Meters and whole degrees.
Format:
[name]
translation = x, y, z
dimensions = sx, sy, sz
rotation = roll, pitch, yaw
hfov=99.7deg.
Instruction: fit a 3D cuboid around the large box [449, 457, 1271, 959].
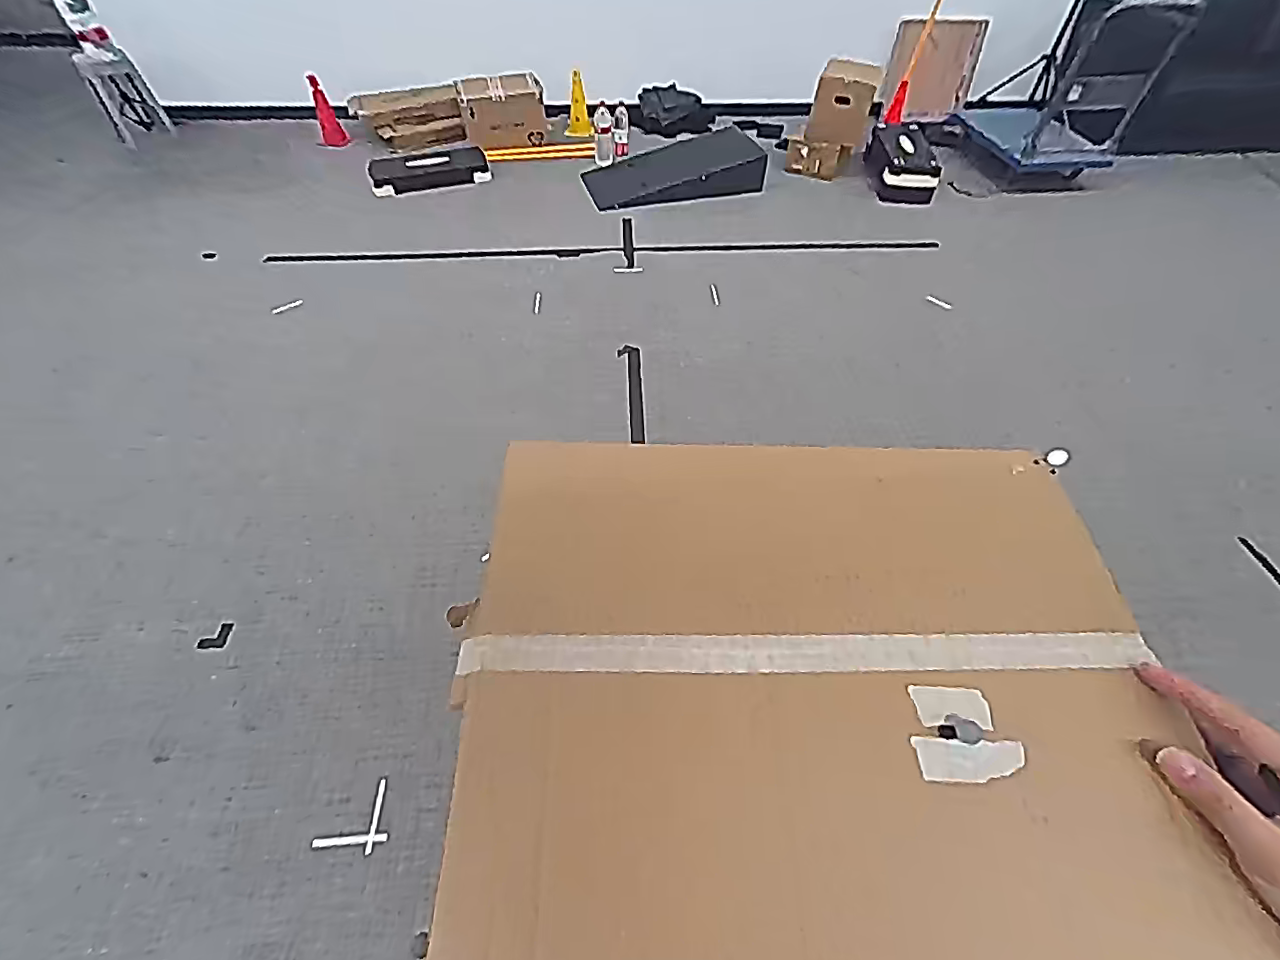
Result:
[large box]
translation = 0.096, 0.194, 0.454
dimensions = 0.408, 0.320, 0.320
rotation = 1, 56, -3
